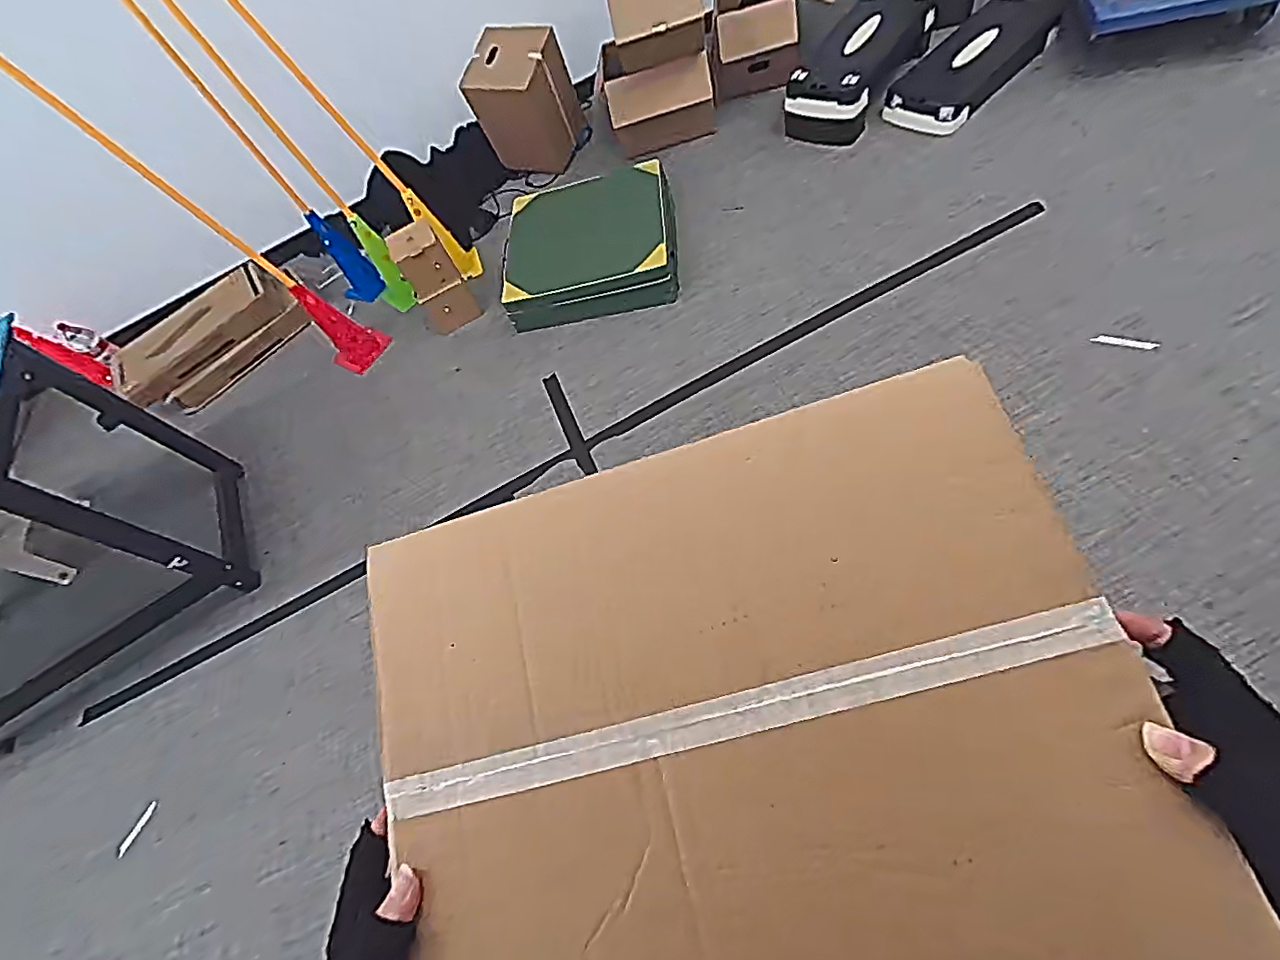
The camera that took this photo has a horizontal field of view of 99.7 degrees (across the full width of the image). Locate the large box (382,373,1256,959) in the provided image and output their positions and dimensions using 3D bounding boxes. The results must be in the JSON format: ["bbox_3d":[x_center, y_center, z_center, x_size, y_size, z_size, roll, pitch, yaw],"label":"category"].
[{"bbox_3d":[0.077,0.174,0.443,0.408,0.320,0.320,-18,70,8],"label":"large box"}]
